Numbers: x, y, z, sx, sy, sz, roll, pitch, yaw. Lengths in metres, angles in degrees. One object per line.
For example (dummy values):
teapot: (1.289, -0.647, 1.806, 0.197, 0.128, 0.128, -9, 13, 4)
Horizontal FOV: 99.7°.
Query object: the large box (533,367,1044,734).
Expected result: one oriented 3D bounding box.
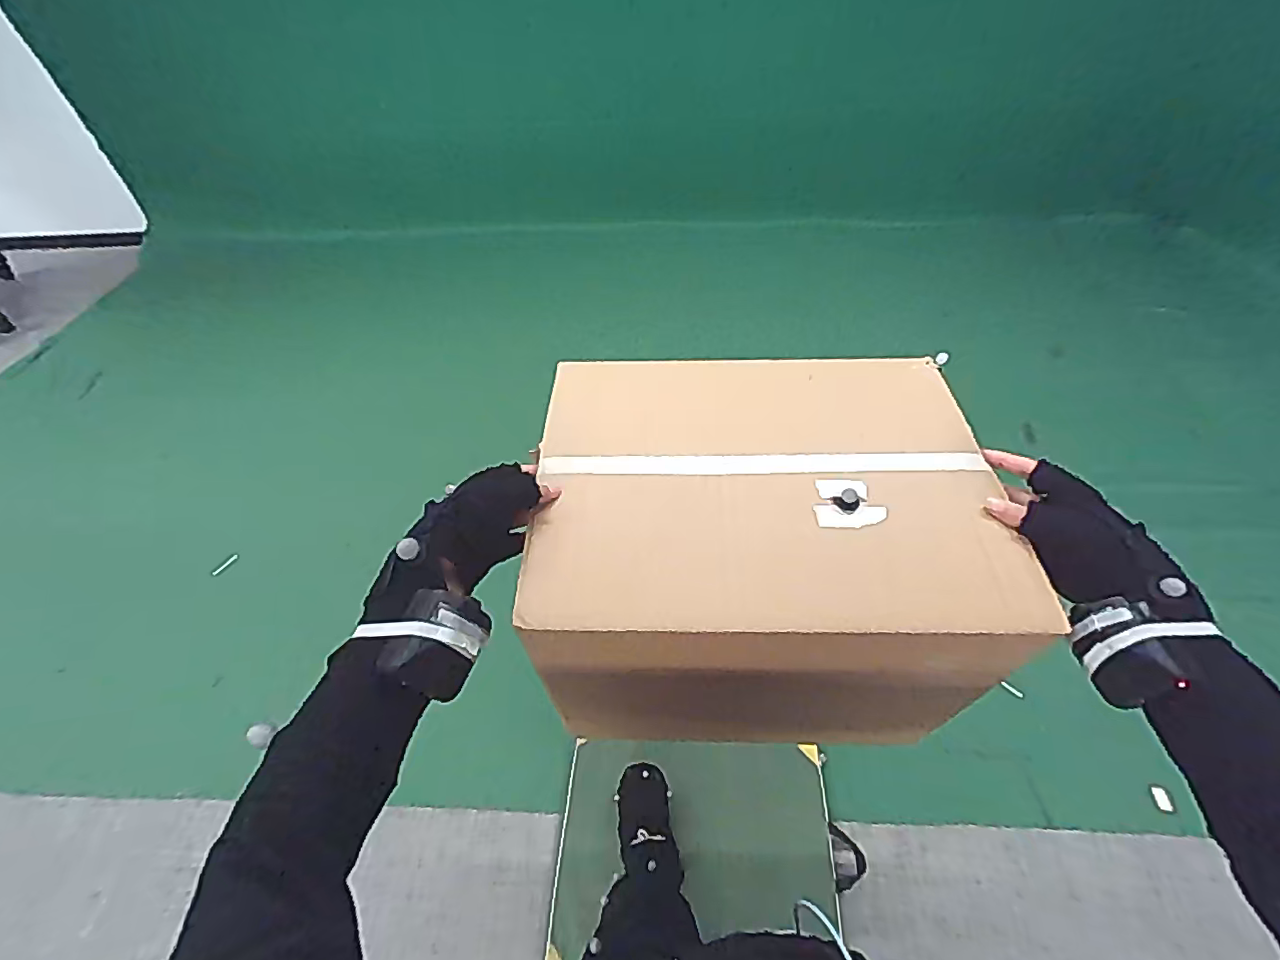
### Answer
large box: (0.115, 0.087, 0.623, 0.408, 0.320, 0.320, 0, 51, 1)
